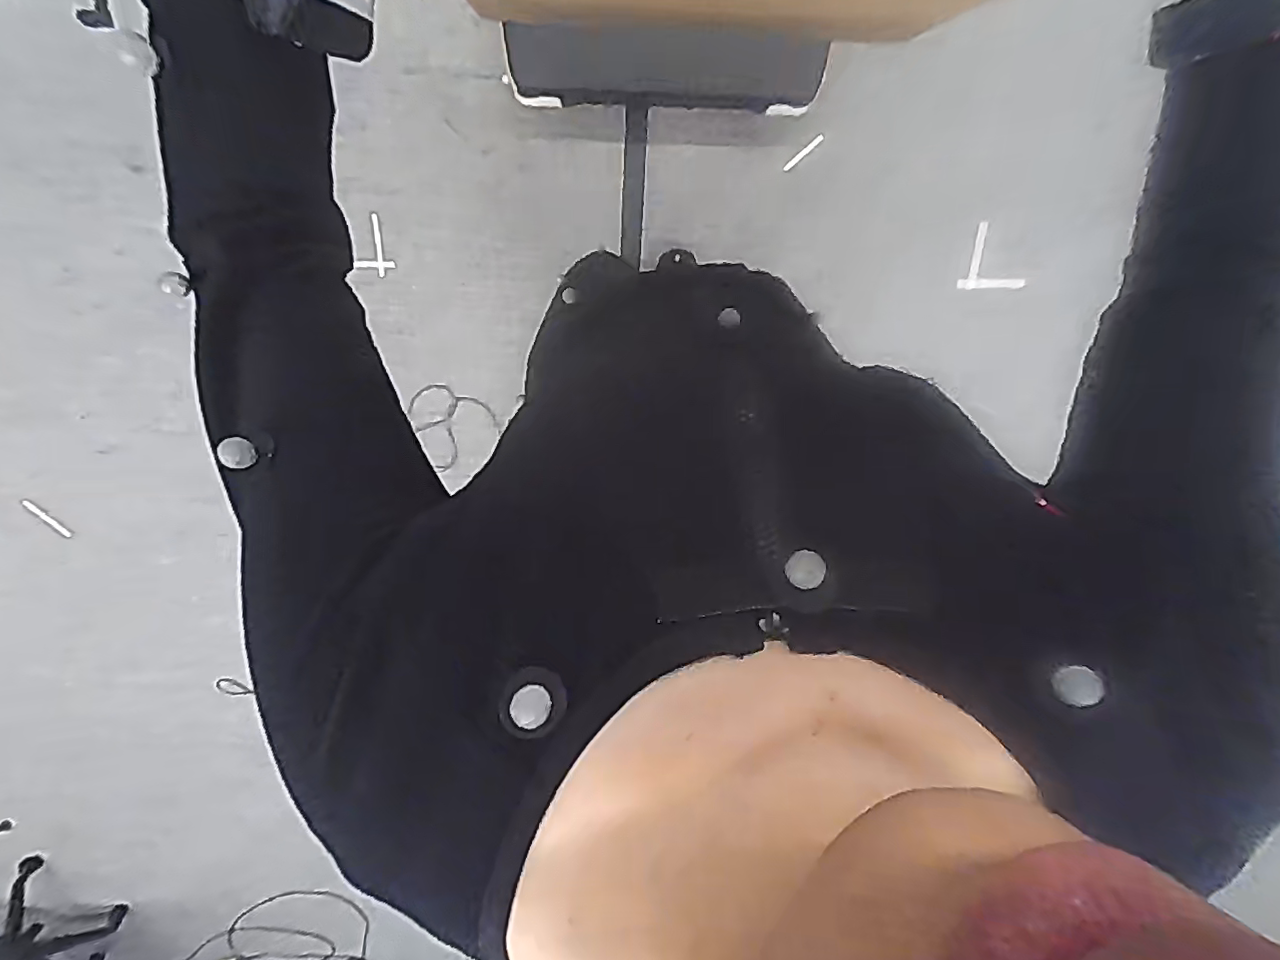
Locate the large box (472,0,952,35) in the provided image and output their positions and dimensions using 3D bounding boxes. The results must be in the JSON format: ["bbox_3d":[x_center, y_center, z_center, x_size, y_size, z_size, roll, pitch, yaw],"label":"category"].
[{"bbox_3d":[0.061,-0.491,0.312,0.408,0.320,0.320,0,119,-3],"label":"large box"}]
